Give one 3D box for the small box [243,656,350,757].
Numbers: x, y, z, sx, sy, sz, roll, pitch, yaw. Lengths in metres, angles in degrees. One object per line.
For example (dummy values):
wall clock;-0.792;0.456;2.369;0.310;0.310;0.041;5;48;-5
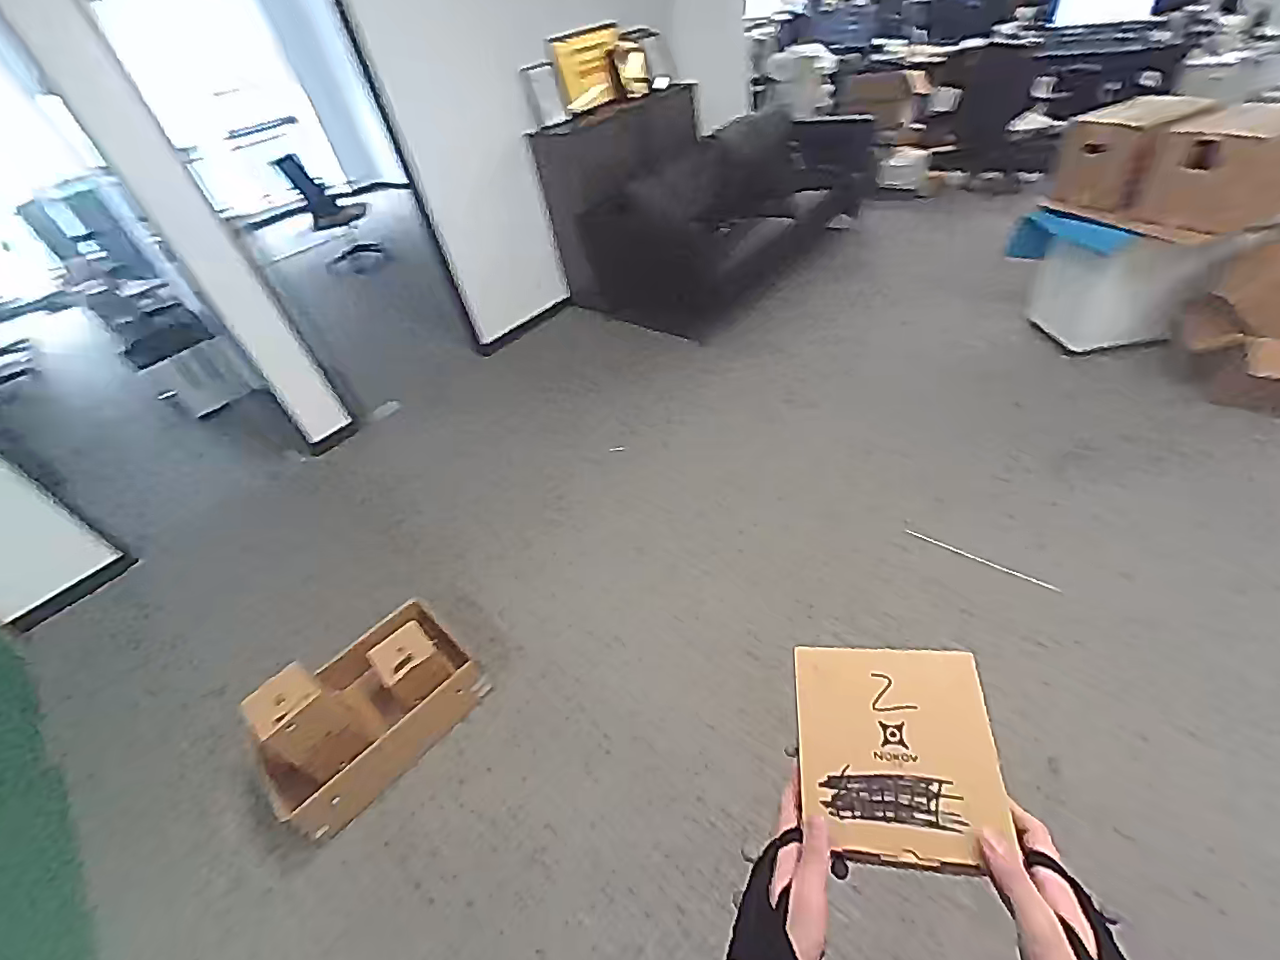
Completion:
small box;-0.969;0.645;1.533;0.179;0.176;0.168;25;54;35
